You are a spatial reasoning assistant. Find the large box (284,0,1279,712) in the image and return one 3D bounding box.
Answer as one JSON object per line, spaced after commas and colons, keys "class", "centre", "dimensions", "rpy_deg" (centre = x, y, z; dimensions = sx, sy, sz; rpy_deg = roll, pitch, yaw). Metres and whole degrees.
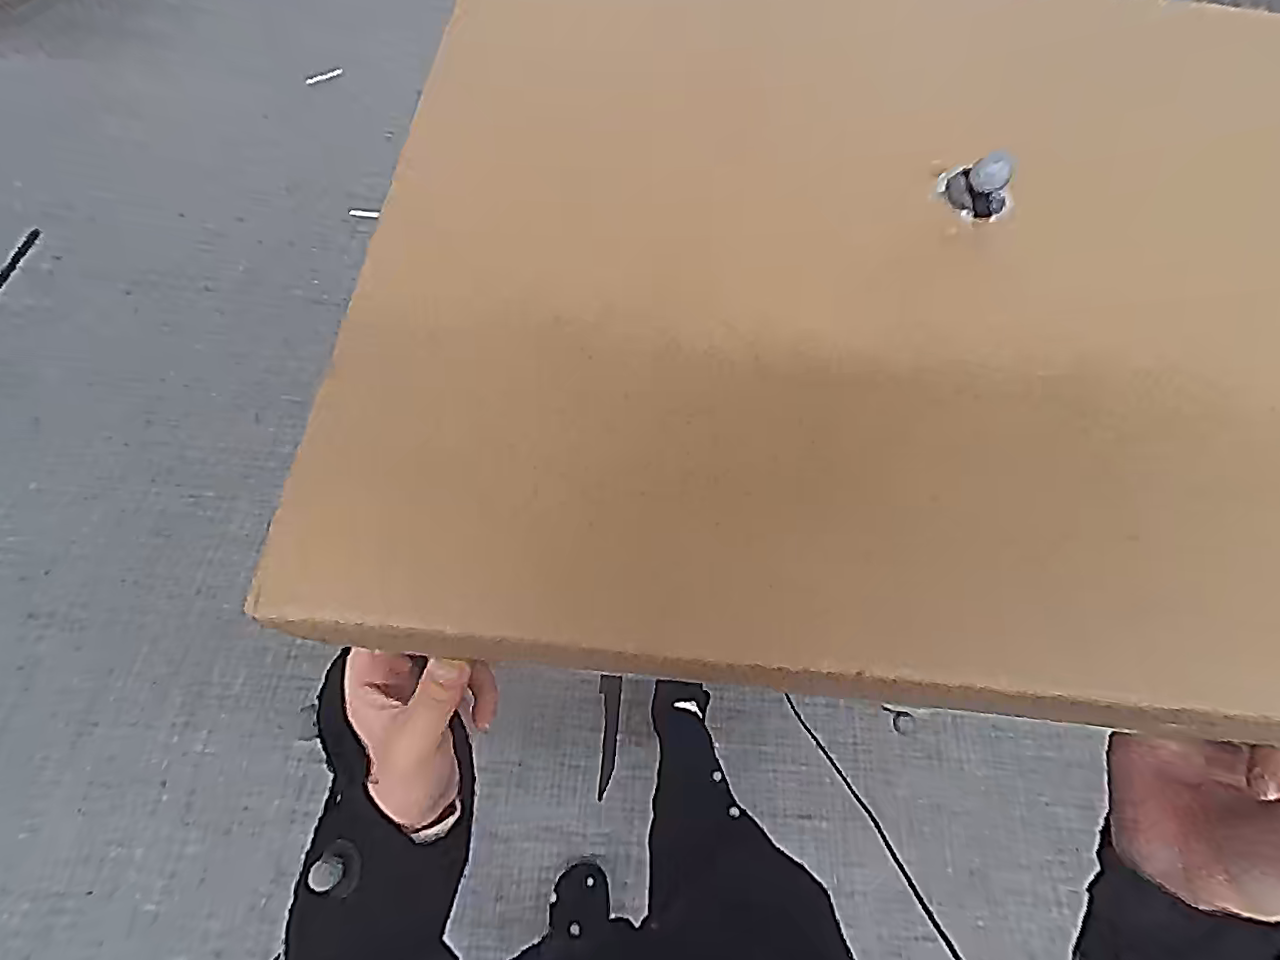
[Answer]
{"class": "large box", "centre": [0.107, -0.050, 0.331], "dimensions": [0.408, 0.320, 0.320], "rpy_deg": [6, 71, 0]}
